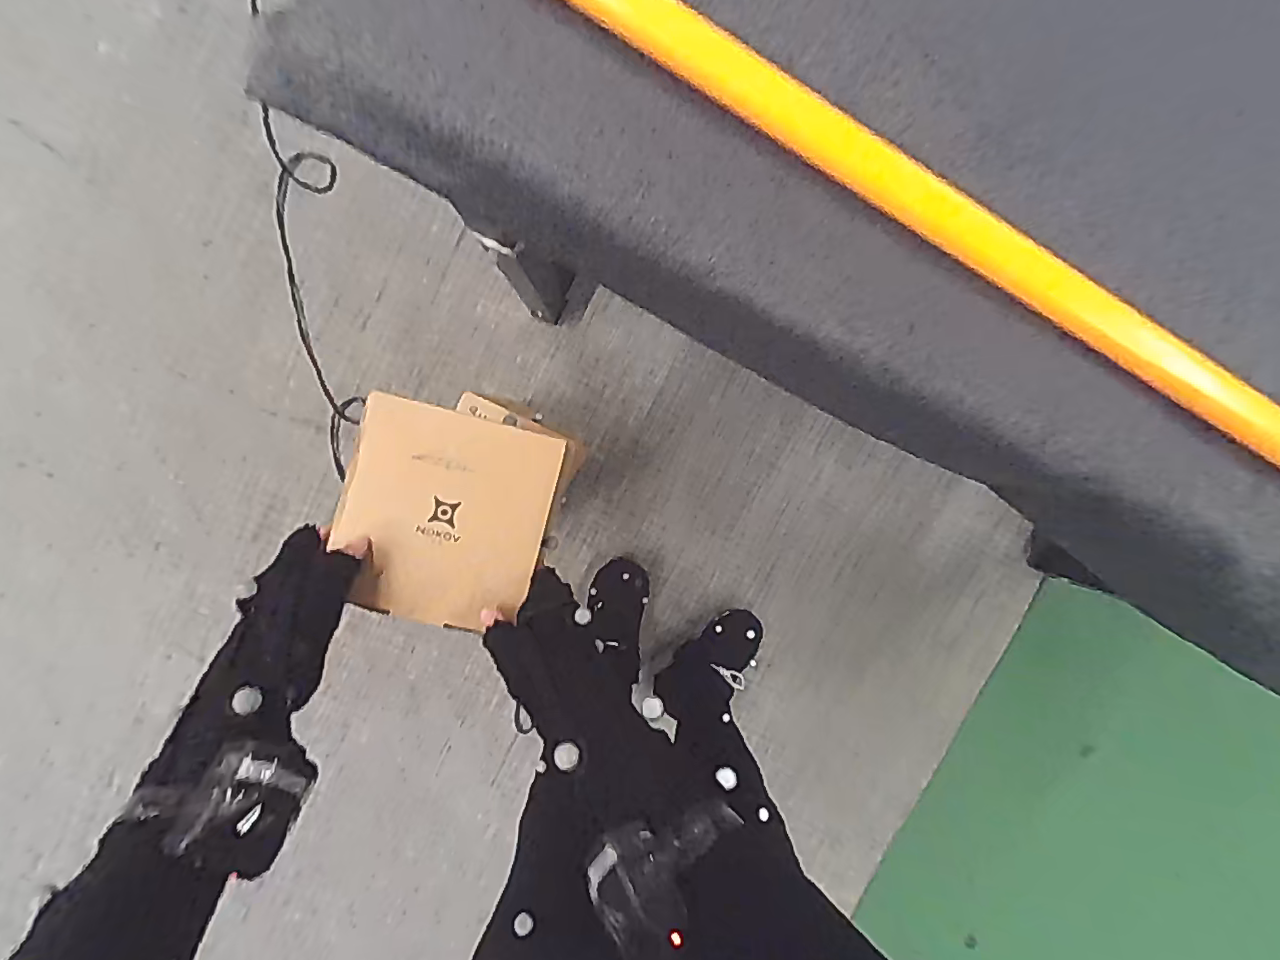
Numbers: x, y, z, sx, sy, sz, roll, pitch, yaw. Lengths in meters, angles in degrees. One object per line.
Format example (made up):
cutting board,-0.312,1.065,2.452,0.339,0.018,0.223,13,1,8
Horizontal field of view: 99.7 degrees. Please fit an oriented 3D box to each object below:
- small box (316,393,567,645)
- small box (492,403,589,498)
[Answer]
small box,-0.168,0.035,0.519,0.168,0.176,0.179,14,86,-6
small box,-0.205,-0.019,0.966,0.168,0.176,0.179,34,94,-5
